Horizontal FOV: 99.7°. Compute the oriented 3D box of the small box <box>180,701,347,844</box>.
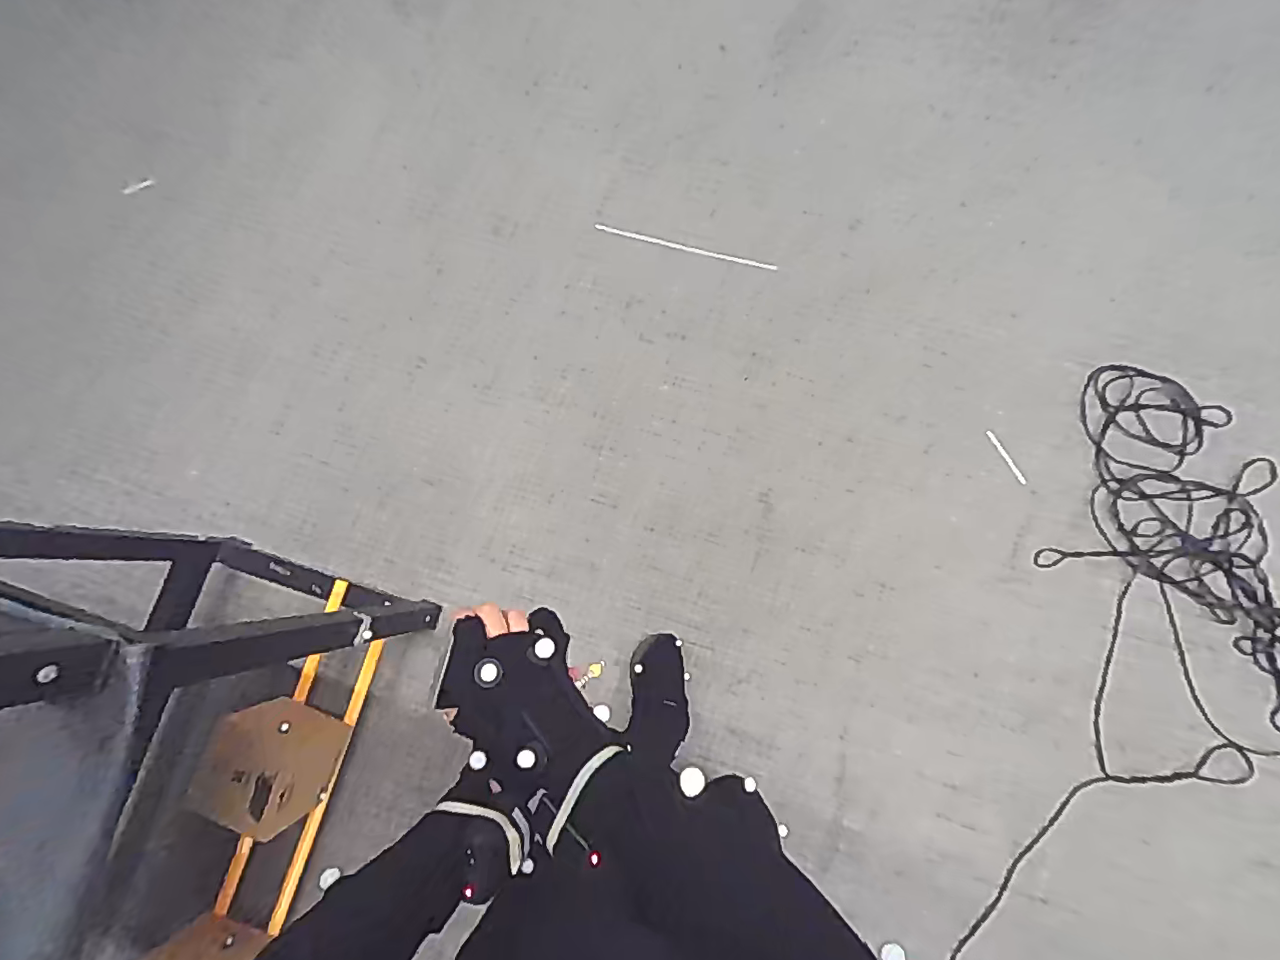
[{"bbox_3d":[-0.715,0.553,1.050,0.179,0.176,0.168,20,82,7],"label":"small box"}]
